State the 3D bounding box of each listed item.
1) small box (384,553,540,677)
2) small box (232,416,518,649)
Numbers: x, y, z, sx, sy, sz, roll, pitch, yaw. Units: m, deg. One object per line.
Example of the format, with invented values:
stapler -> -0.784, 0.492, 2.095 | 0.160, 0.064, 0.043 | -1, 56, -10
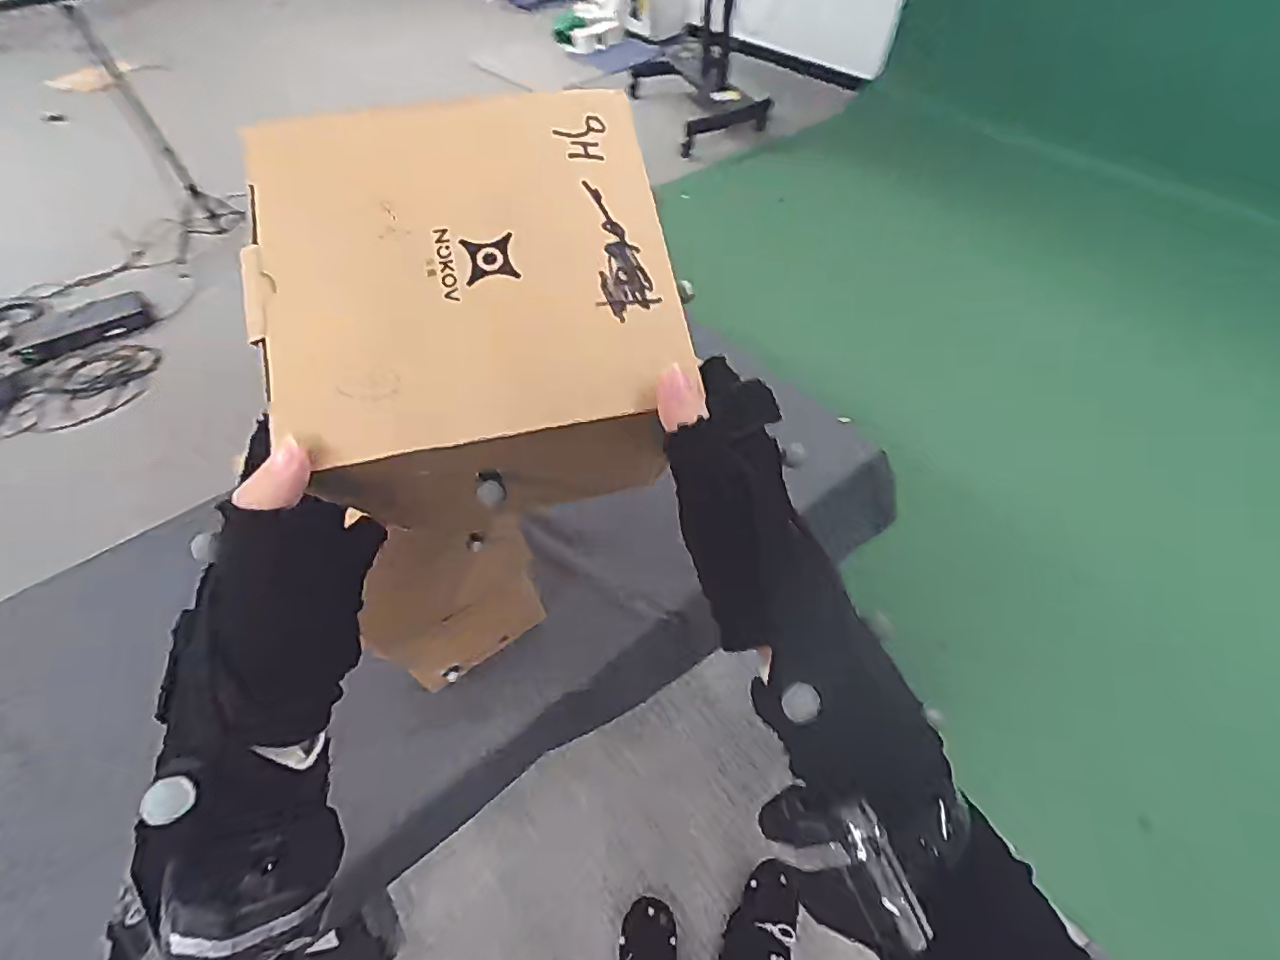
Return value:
small box -> -0.246, 0.124, 0.683 | 0.168, 0.176, 0.179 | -32, 57, -20
small box -> -0.238, 0.029, 0.531 | 0.179, 0.176, 0.168 | -37, 59, -24
